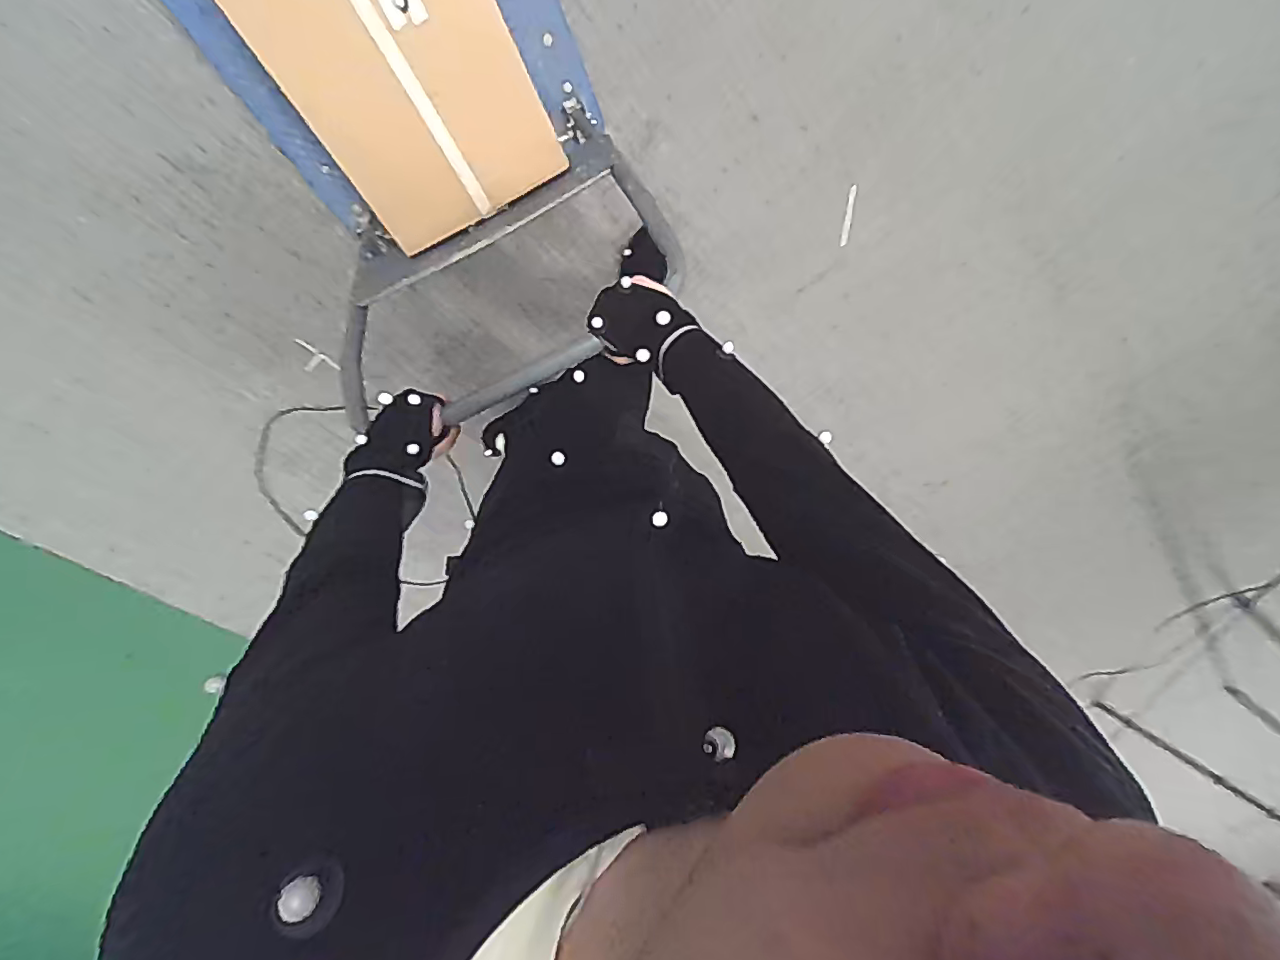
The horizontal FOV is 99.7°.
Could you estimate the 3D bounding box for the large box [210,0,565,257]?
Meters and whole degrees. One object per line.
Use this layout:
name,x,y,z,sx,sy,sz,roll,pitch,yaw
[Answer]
large box,-0.365,-0.656,0.868,0.320,0.320,0.408,-27,134,5
